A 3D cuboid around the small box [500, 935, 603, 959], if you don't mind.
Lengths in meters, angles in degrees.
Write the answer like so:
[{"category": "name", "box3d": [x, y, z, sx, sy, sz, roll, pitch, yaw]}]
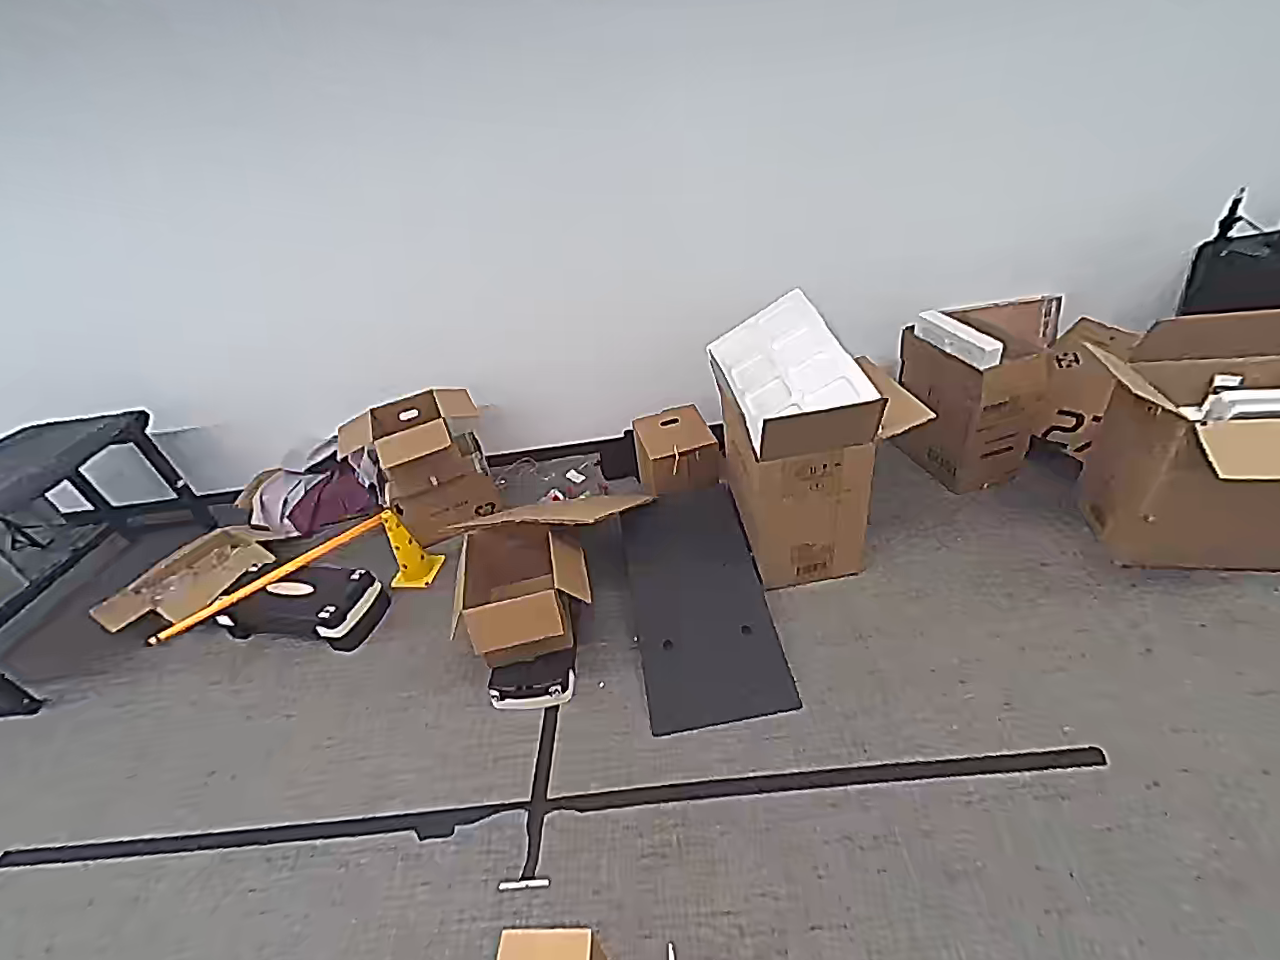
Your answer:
[{"category": "small box", "box3d": [-0.152, 0.914, 0.923, 0.168, 0.176, 0.179, -5, 36, 6]}]
